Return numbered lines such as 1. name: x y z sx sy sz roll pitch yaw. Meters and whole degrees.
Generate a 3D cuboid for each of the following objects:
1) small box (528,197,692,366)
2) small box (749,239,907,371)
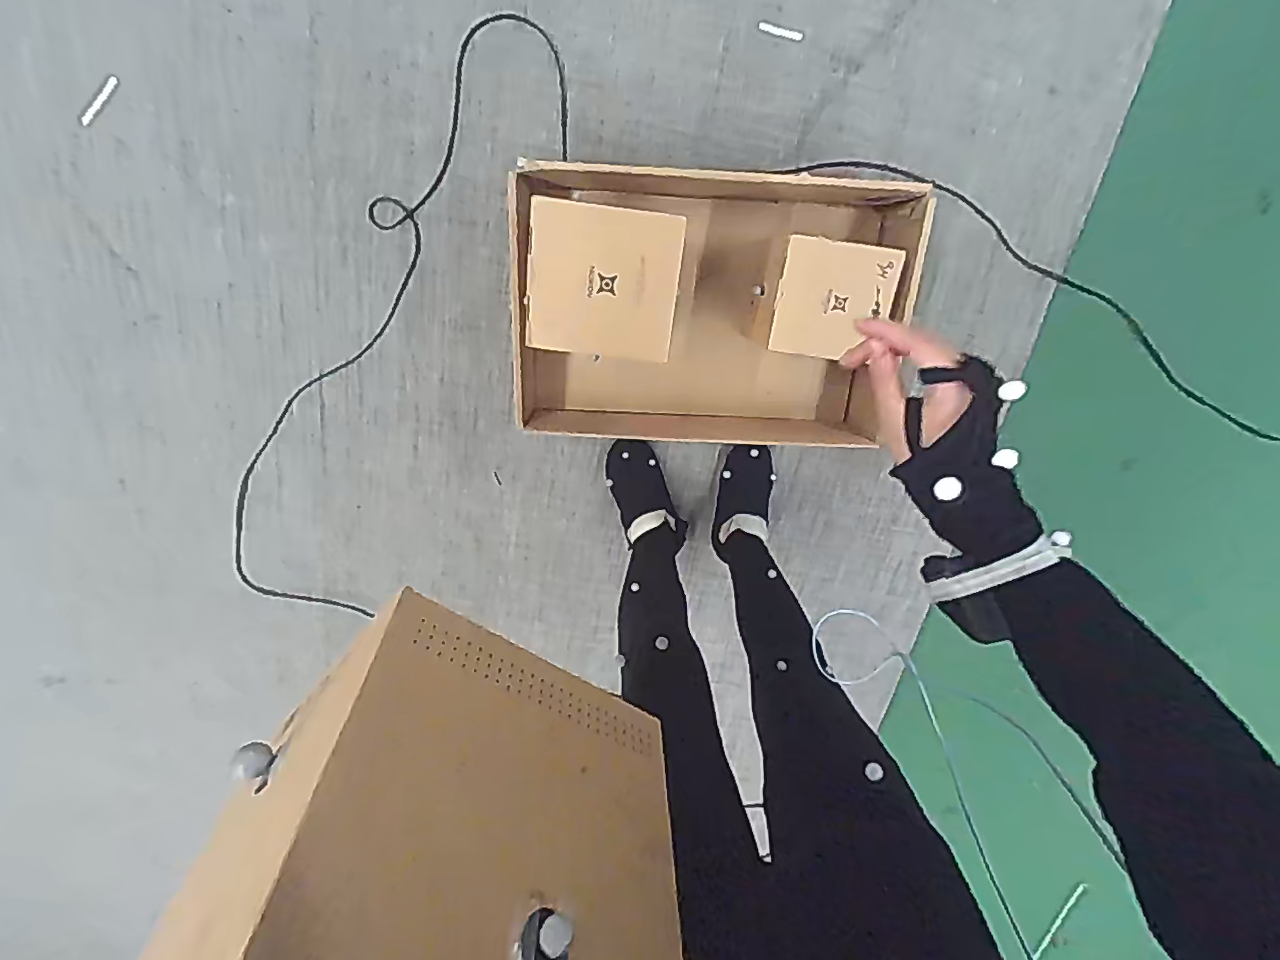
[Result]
1. small box: -0.040 -0.253 0.701 0.179 0.176 0.168 6 111 -5
2. small box: 0.287 -0.281 0.874 0.179 0.176 0.168 8 110 -4
